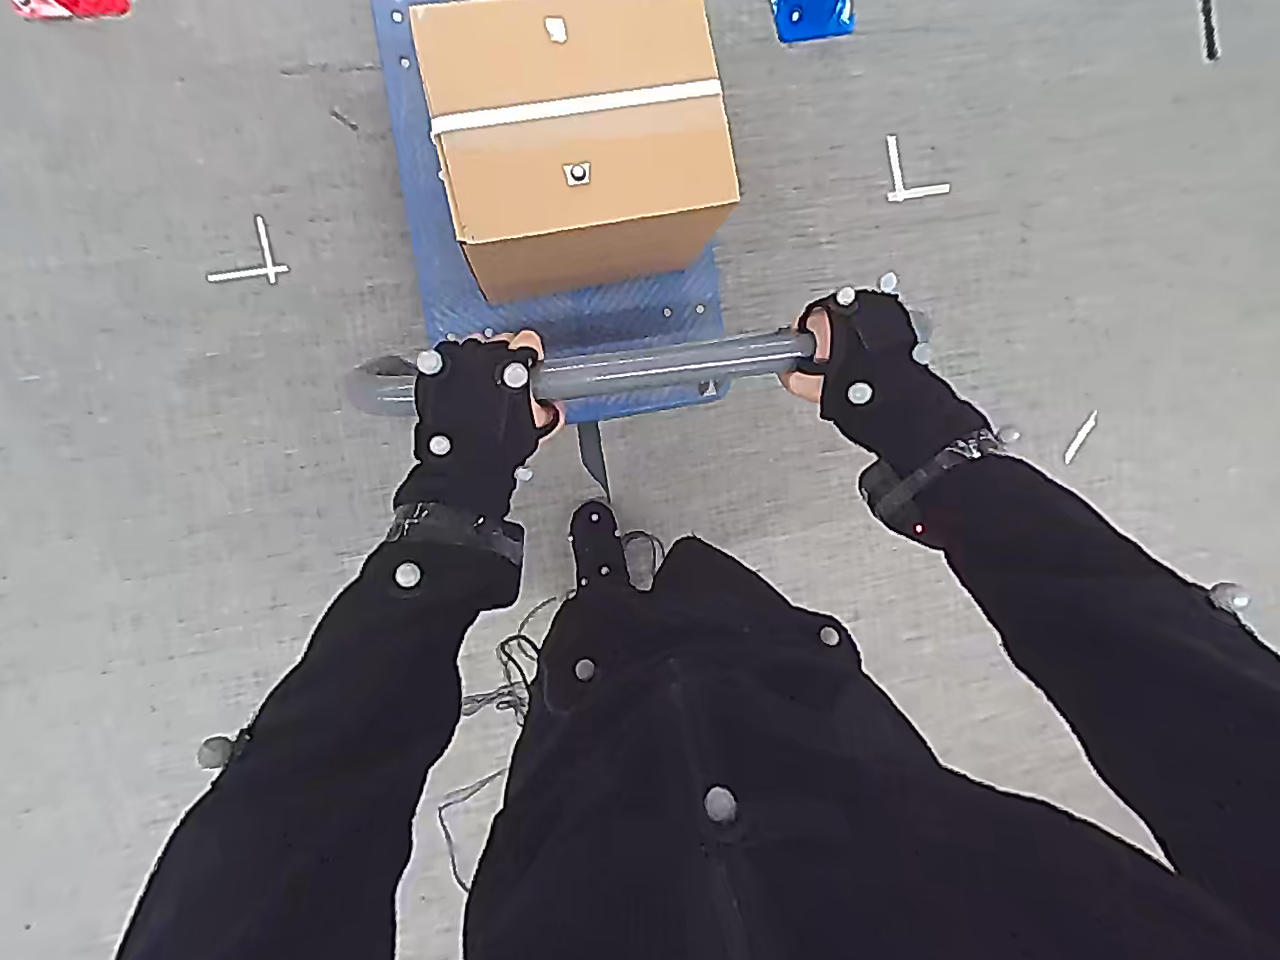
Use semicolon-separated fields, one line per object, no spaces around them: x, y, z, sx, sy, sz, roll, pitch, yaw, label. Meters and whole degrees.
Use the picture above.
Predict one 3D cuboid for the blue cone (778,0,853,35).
0.432;-1.147;1.113;0.193;0.380;0.192;-14;94;-9;blue cone
